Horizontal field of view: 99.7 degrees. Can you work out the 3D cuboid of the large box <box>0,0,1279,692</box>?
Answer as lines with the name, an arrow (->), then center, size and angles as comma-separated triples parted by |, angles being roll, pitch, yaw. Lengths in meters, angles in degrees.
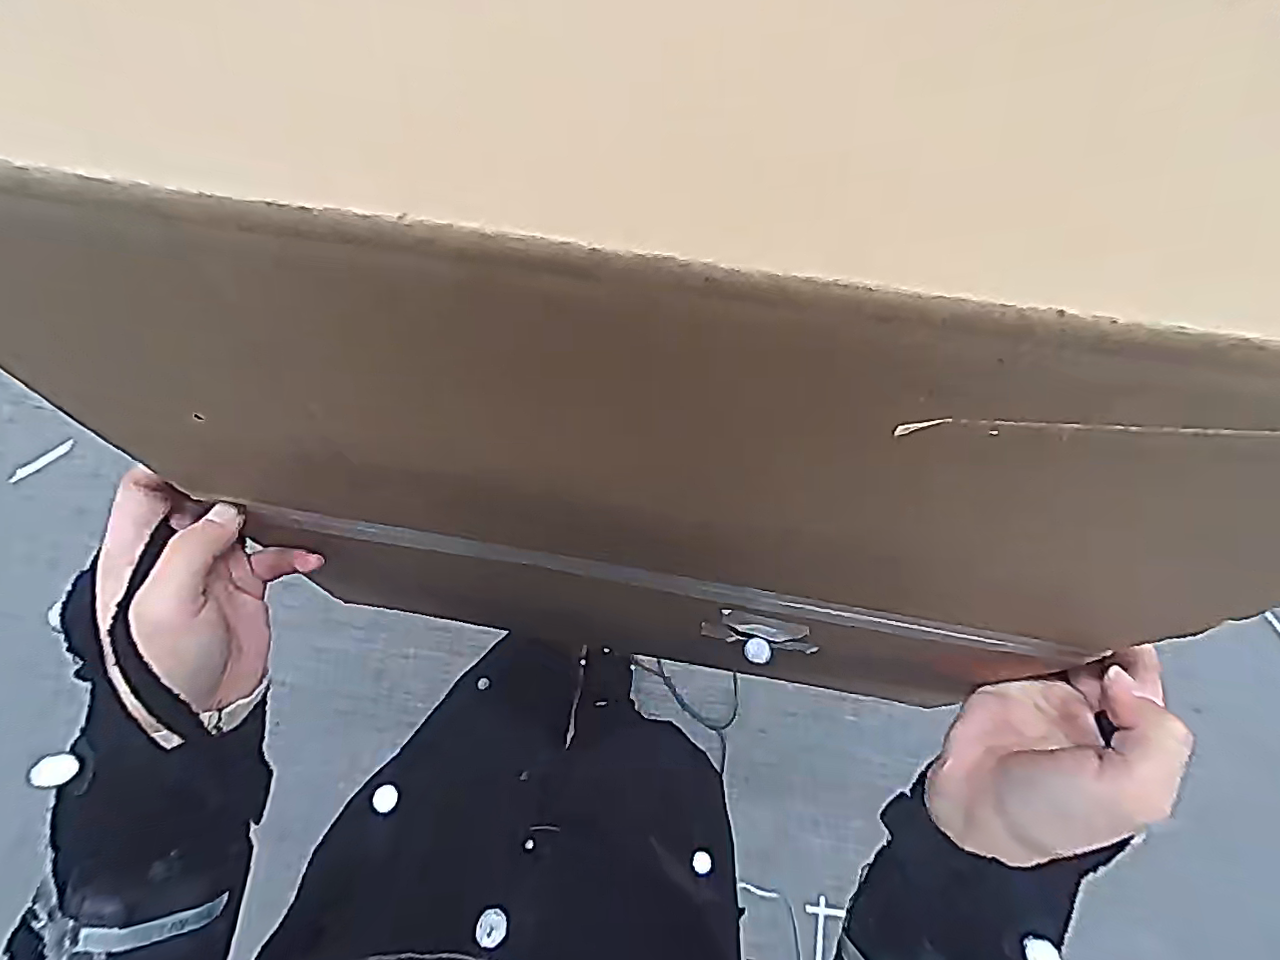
large box -> 0.018, -0.092, 0.320 | 0.408, 0.320, 0.320 | 8, 60, 3
